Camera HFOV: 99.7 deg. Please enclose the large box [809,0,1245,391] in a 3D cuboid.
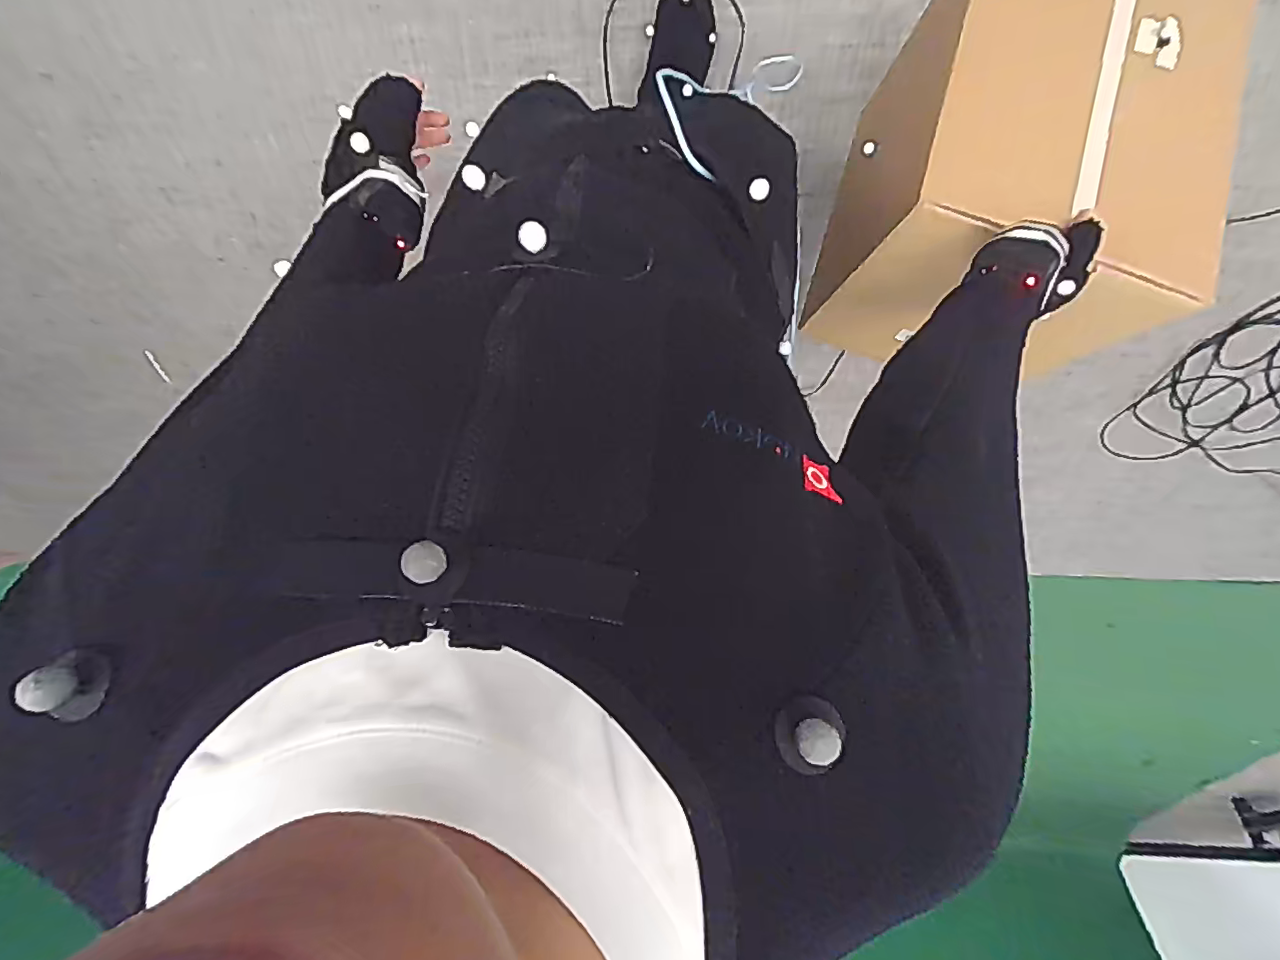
[{"bbox_3d":[0.463,-0.383,0.713,0.320,0.408,0.320,18,171,-3],"label":"large box"}]
